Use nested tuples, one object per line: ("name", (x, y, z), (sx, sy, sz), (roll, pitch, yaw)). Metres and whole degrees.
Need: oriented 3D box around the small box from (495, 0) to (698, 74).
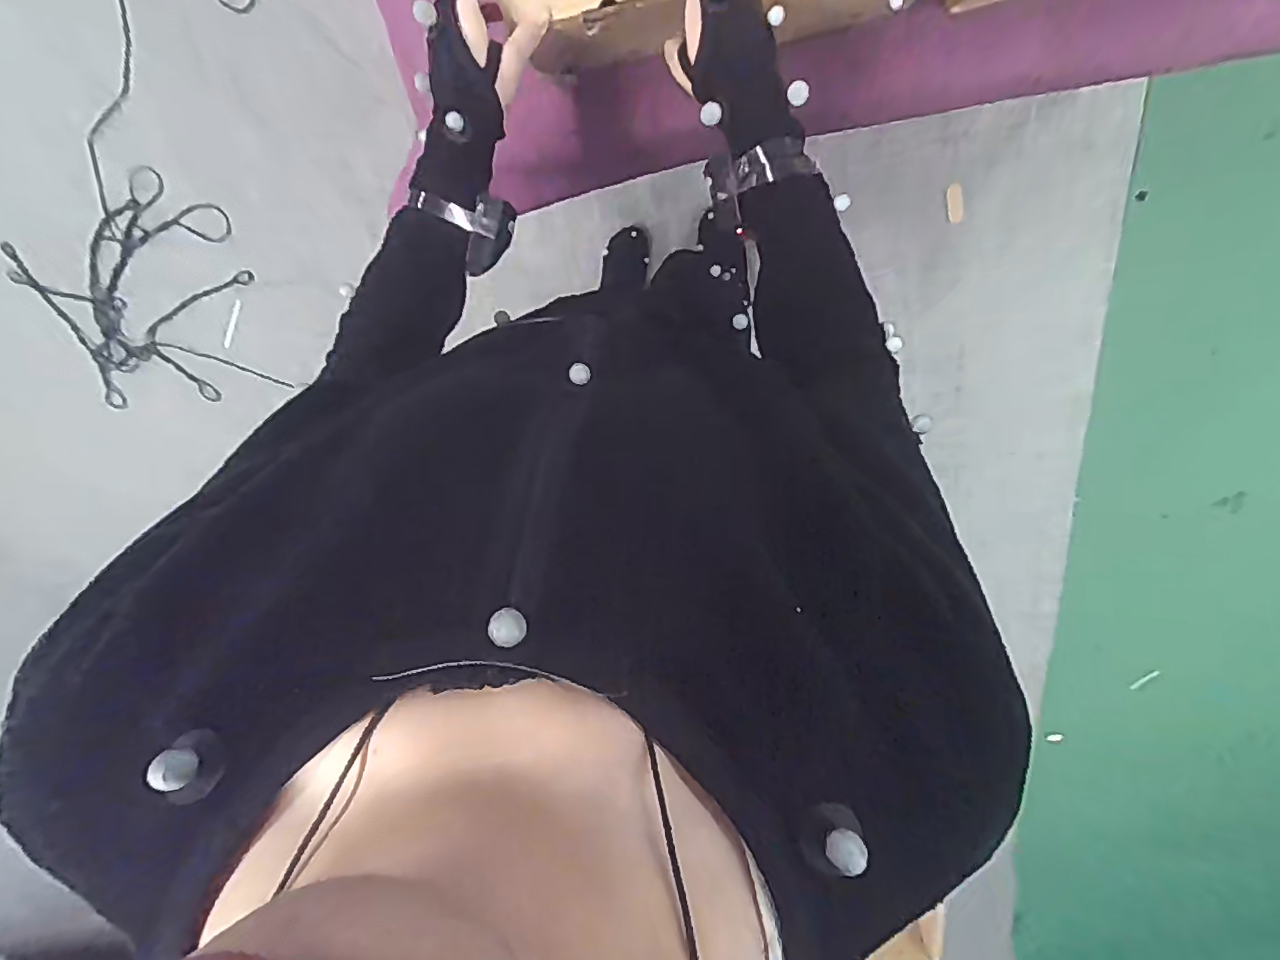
("small box", (-0.042, -0.473, 0.456), (0.168, 0.176, 0.179), (-10, 115, 6))
